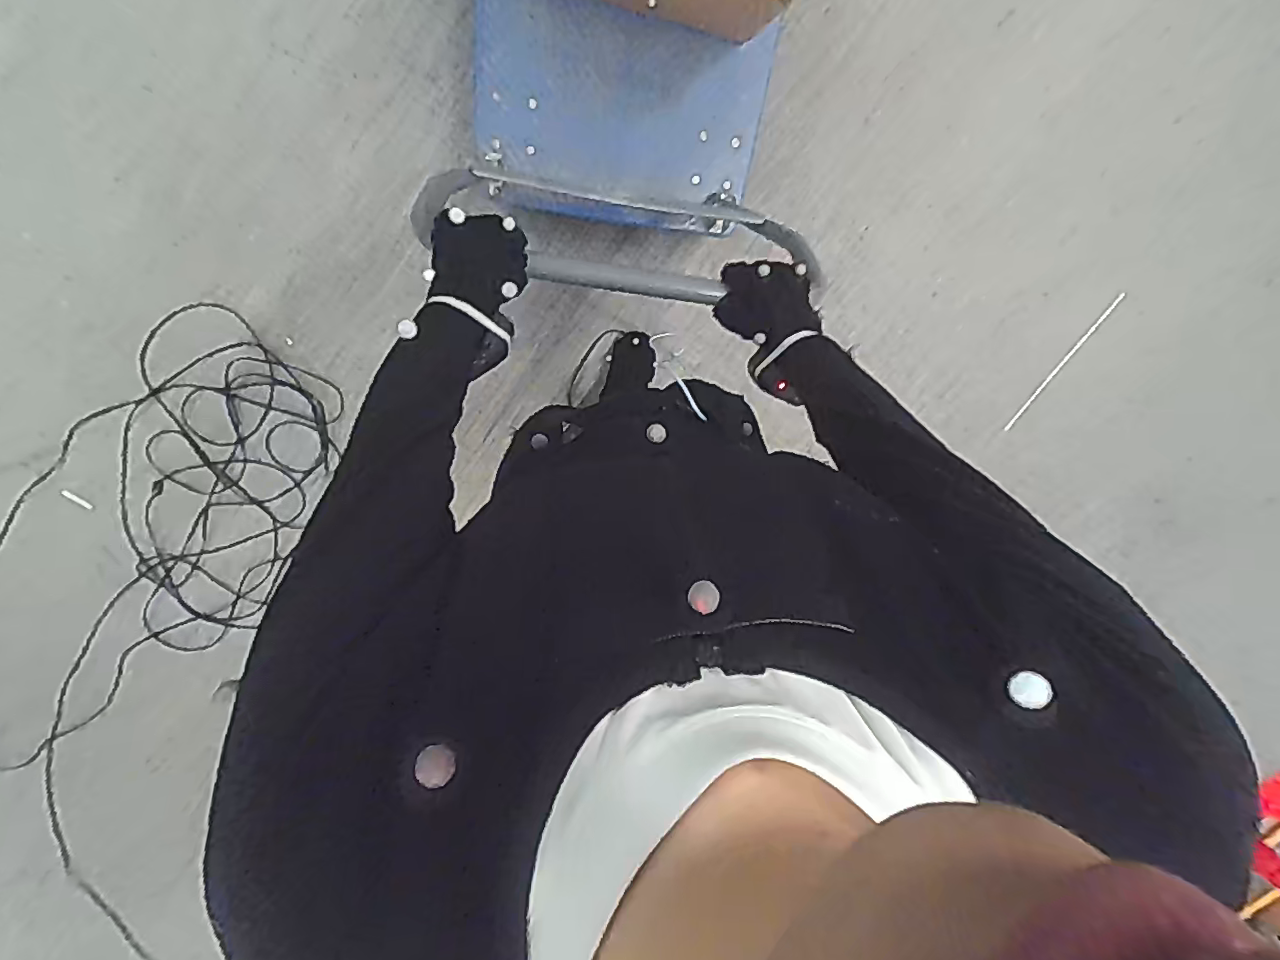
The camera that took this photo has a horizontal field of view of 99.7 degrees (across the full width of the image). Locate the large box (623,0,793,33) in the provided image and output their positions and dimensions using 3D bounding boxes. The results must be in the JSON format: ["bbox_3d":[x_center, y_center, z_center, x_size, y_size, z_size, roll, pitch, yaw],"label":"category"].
[{"bbox_3d":[0.064,-0.939,0.817,0.408,0.320,0.320,9,119,-8],"label":"large box"}]
